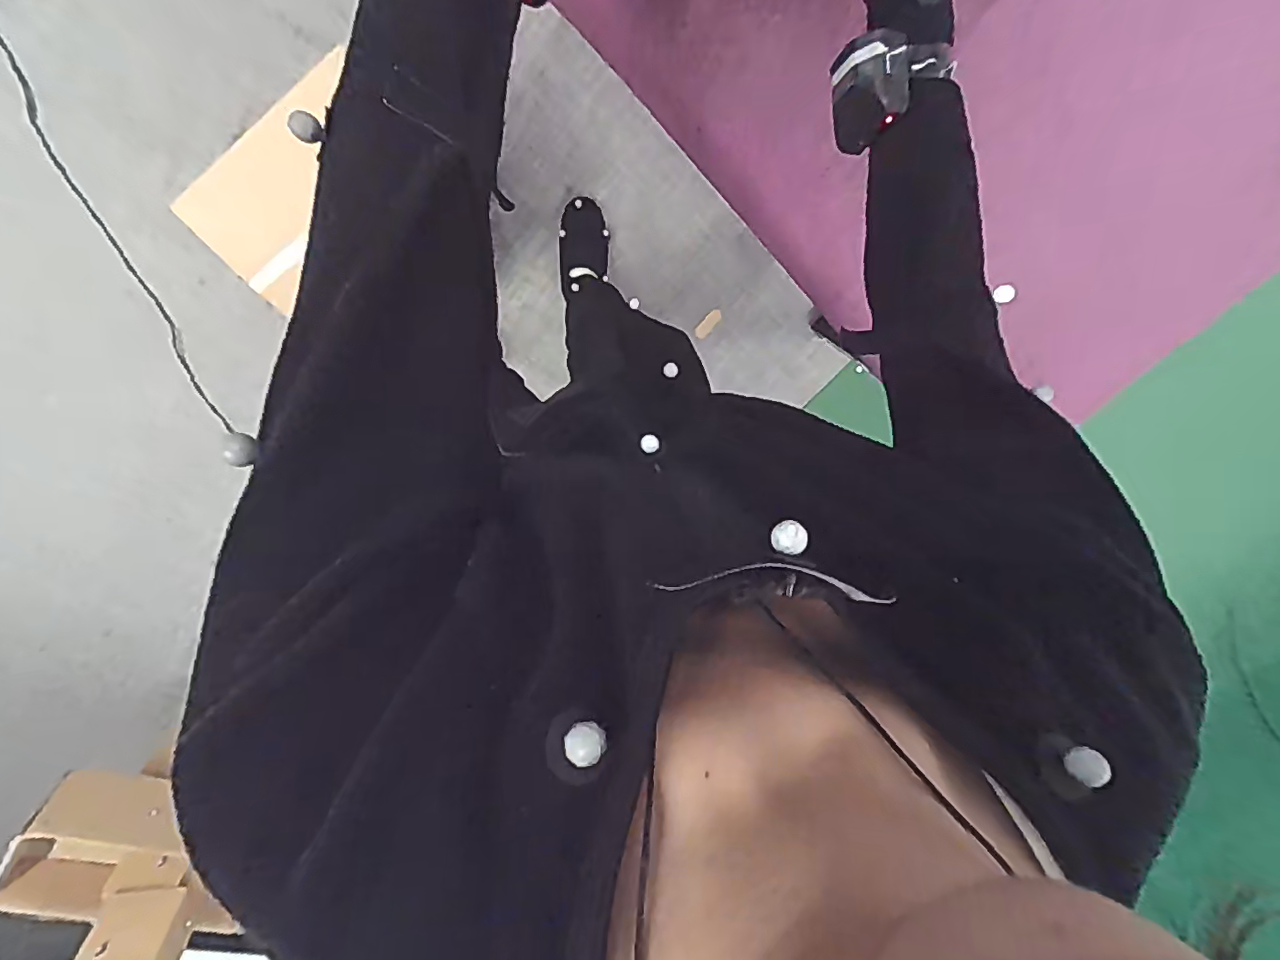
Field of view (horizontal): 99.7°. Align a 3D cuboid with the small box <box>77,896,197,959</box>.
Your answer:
[{"bbox_3d":[-1.286,1.199,1.379,0.179,0.176,0.168,5,121,-14],"label":"small box"}]

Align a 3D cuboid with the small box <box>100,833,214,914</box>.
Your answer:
[{"bbox_3d":[-1.337,1.119,1.515,0.179,0.176,0.168,4,119,-13],"label":"small box"}]
